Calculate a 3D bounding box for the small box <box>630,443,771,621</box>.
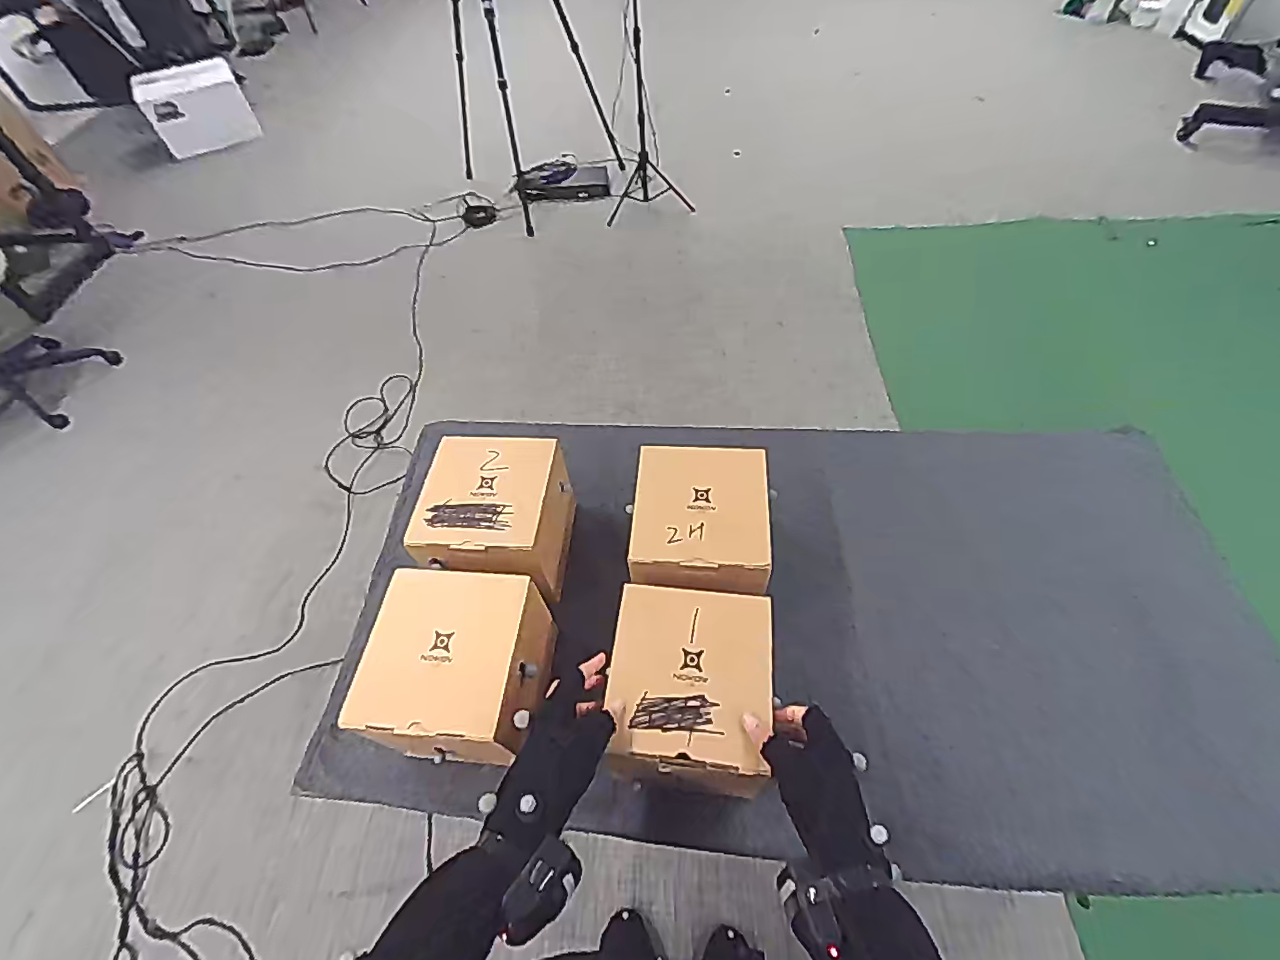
[{"bbox_3d":[0.081,0.072,0.734,0.168,0.176,0.179,3,55,6],"label":"small box"}]
